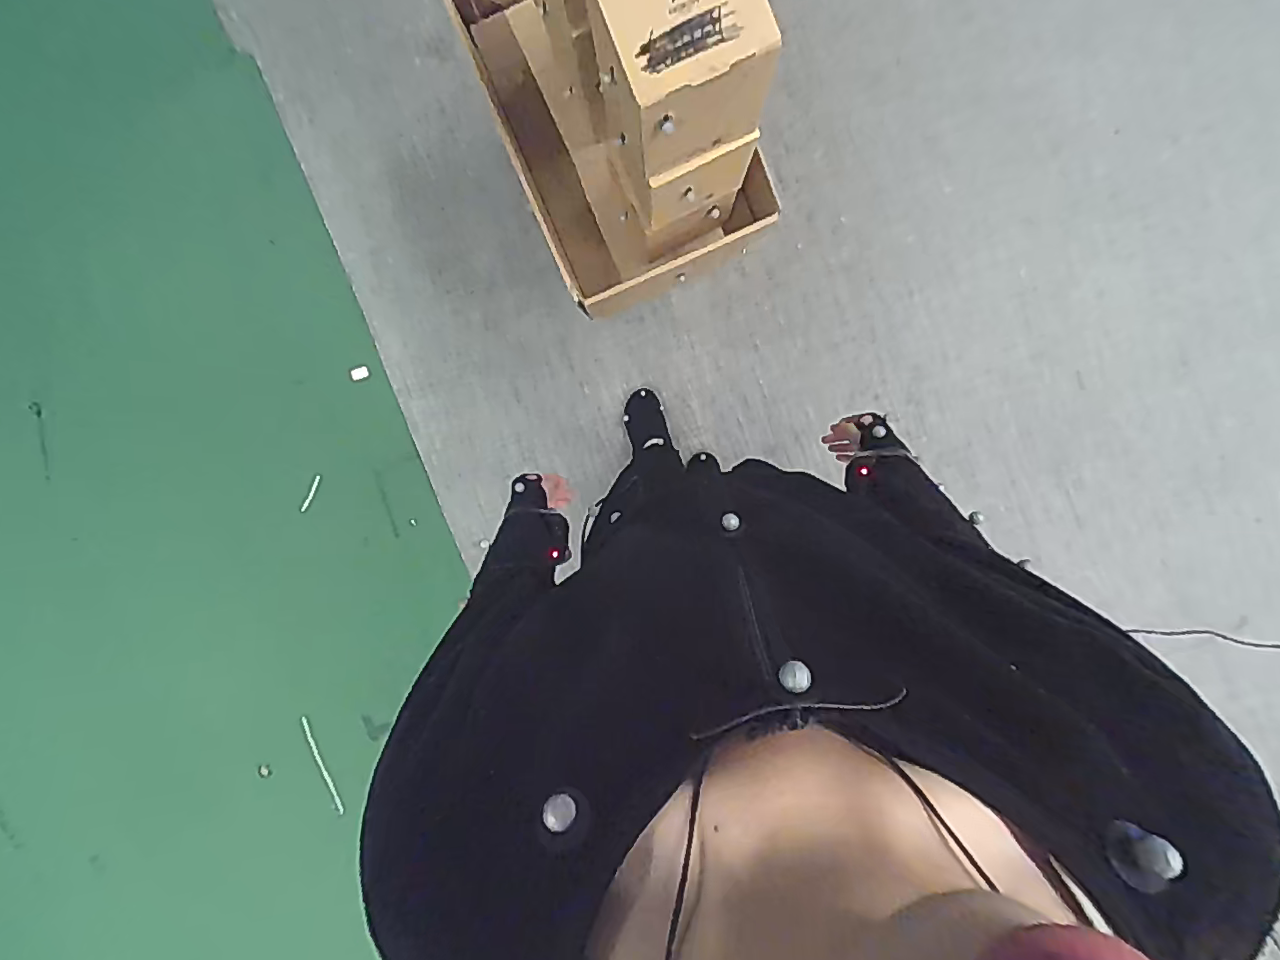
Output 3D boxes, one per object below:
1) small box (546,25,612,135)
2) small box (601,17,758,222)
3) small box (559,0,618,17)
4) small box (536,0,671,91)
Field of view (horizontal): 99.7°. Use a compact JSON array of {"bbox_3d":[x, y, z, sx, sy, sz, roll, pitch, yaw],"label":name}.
[{"bbox_3d":[-0.052,-0.754,0.960,0.168,0.176,0.179,-27,97,3],"label":"small box"},{"bbox_3d":[0.058,-0.518,0.814,0.168,0.176,0.179,-24,93,4],"label":"small box"},{"bbox_3d":[-0.055,-0.706,0.637,0.168,0.176,0.179,-25,97,3],"label":"small box"},{"bbox_3d":[-0.059,-0.724,0.799,0.168,0.176,0.179,-28,96,4],"label":"small box"}]
